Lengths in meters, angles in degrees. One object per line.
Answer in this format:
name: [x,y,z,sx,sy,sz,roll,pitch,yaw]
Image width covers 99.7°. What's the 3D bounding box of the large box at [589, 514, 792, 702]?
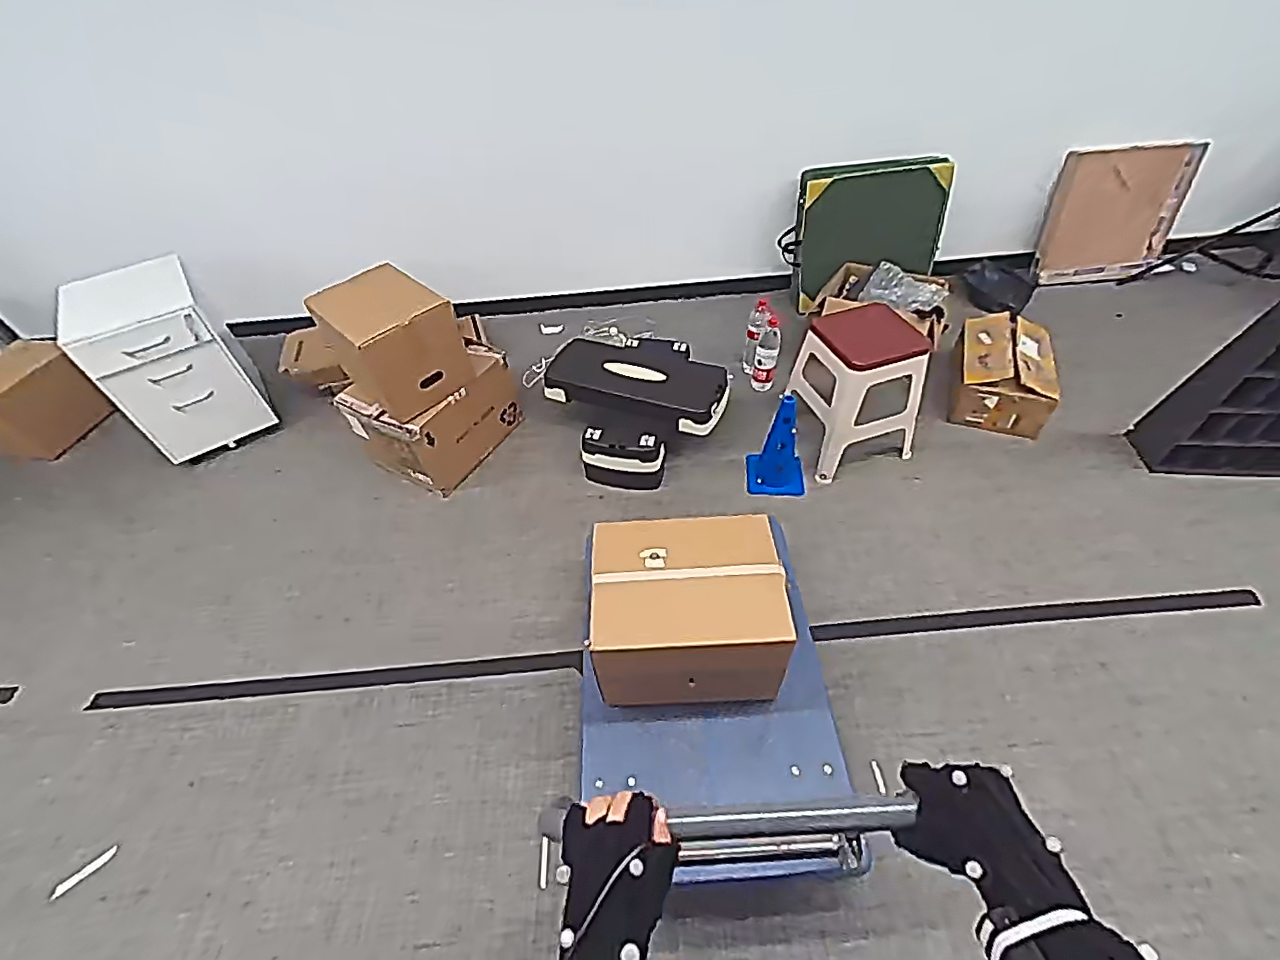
large box: [0.104,0.304,1.264,0.408,0.320,0.320,-4,48,2]
